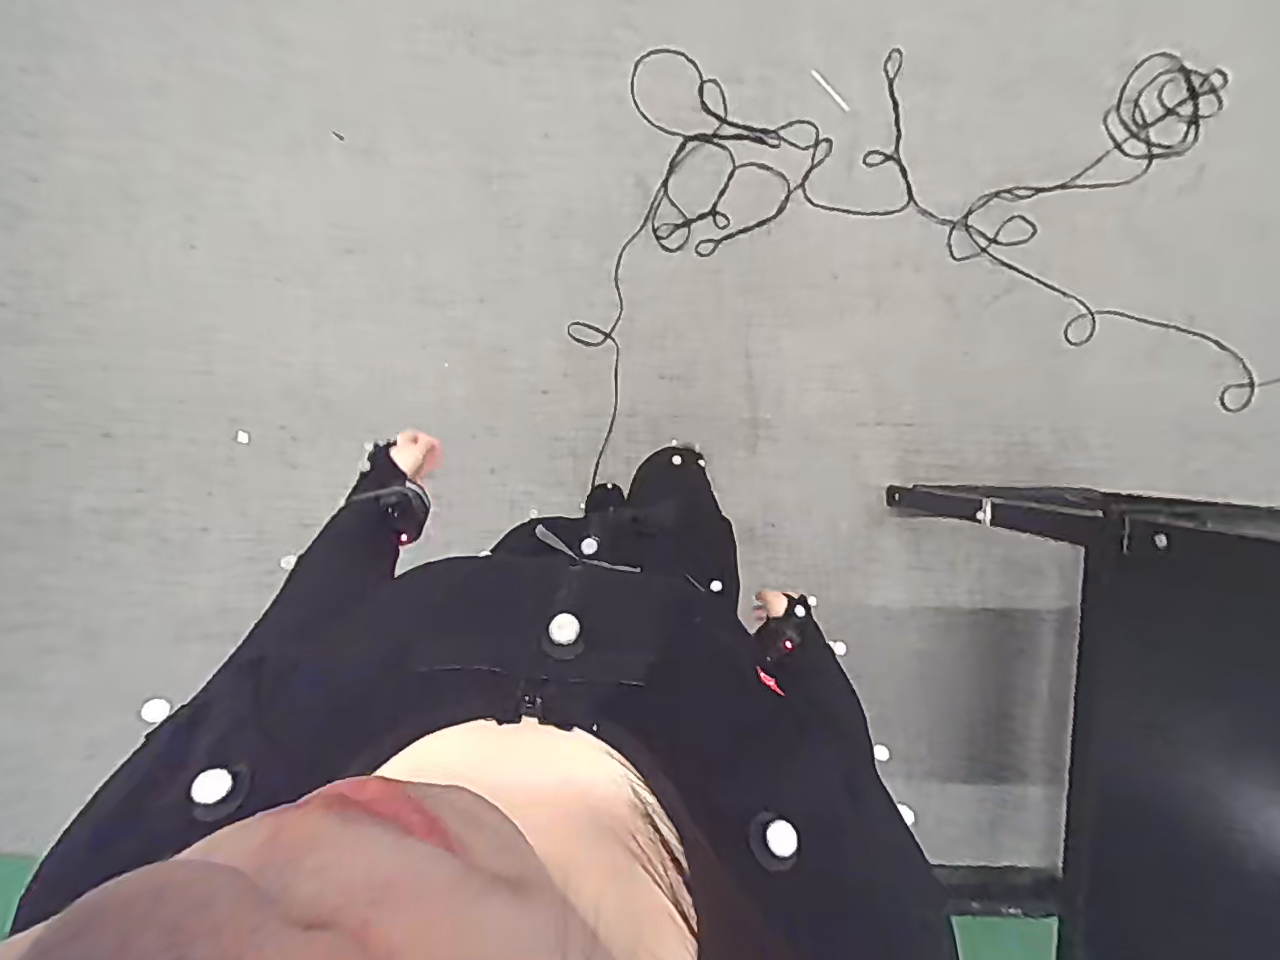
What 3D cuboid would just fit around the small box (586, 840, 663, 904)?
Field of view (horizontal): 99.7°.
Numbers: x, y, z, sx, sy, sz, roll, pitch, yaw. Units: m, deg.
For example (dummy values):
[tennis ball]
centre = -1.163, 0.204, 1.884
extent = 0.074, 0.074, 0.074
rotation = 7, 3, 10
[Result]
[small box]
centre = -0.044, 1.006, 1.293
extent = 0.168, 0.176, 0.179
rotation = 8, 93, -1
